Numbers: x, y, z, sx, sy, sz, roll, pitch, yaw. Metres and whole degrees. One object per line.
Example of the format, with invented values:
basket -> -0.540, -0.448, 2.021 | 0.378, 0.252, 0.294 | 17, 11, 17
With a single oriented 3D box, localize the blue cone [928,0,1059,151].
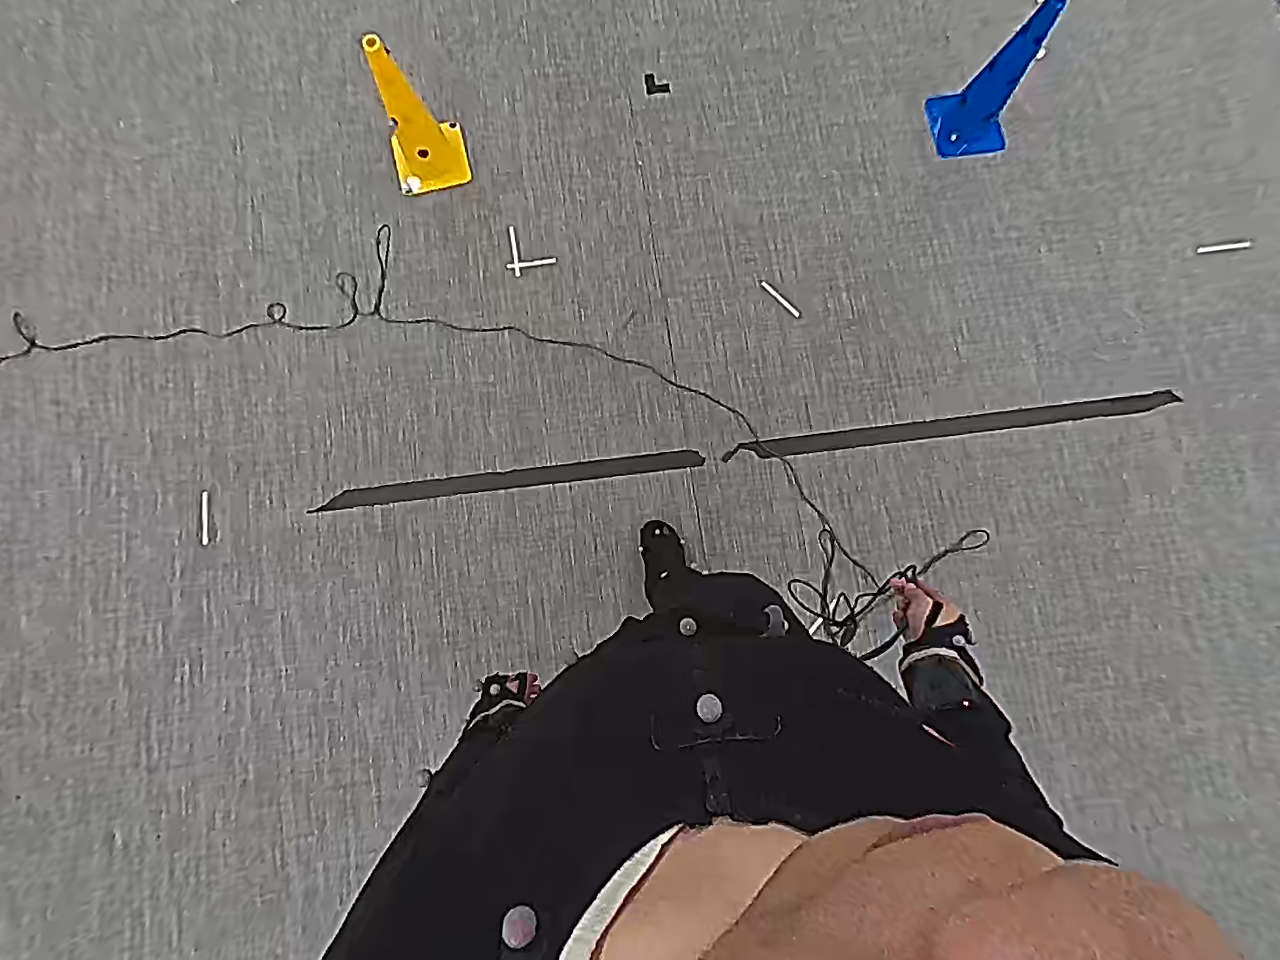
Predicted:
blue cone -> 0.939, -1.064, 1.395 | 0.193, 0.380, 0.192 | -7, 80, -1
